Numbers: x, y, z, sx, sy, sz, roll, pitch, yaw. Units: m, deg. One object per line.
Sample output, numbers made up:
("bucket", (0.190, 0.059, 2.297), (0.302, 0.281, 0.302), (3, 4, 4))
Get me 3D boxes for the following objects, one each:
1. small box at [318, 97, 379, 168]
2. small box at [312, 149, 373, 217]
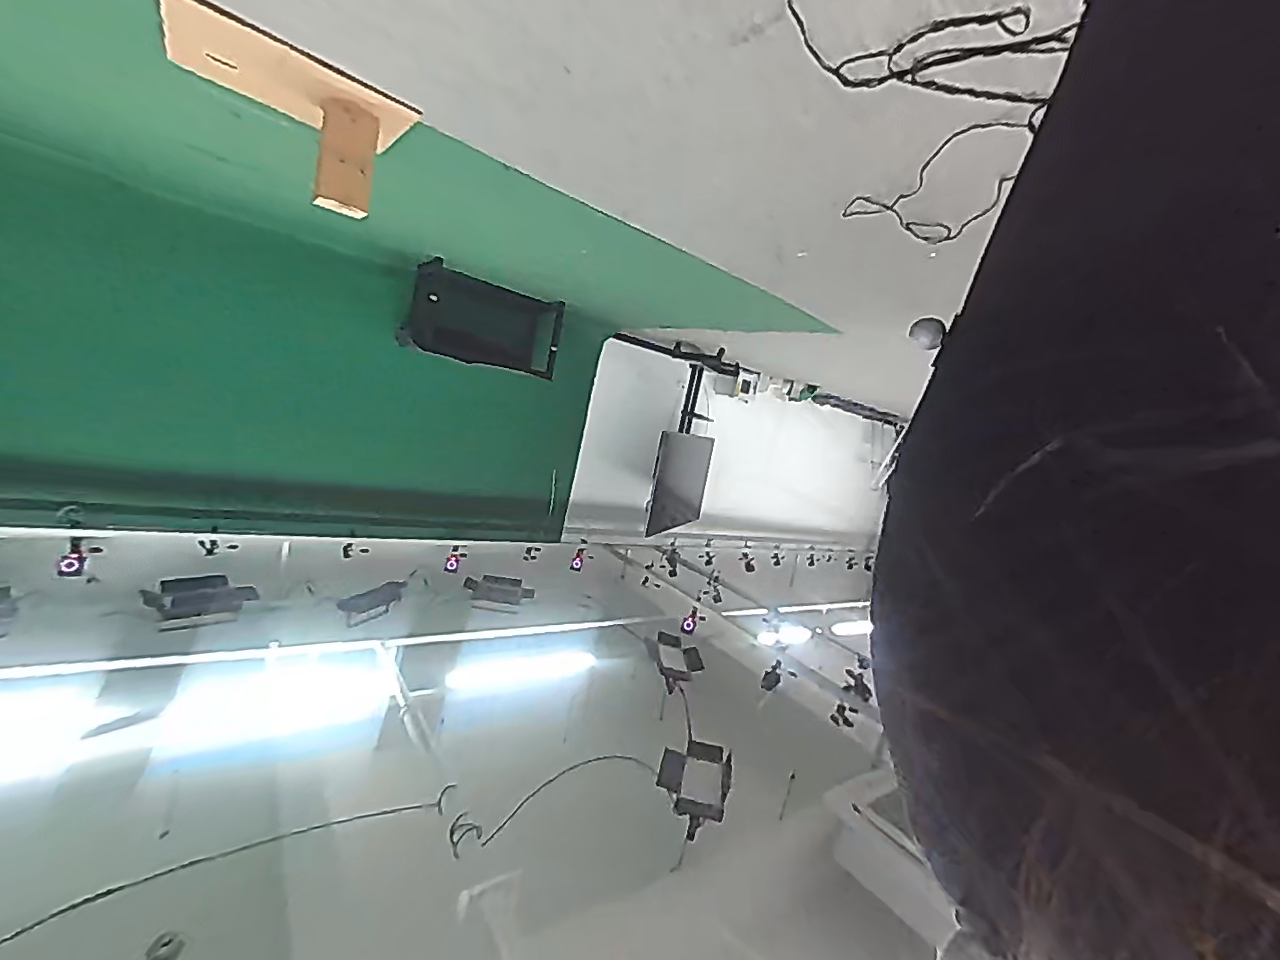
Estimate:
("small box", (-1.082, -1.274, 2.008), (0.168, 0.176, 0.179), (5, -170, -39))
("small box", (-1.116, -1.115, 2.031), (0.168, 0.176, 0.179), (6, -169, -41))
